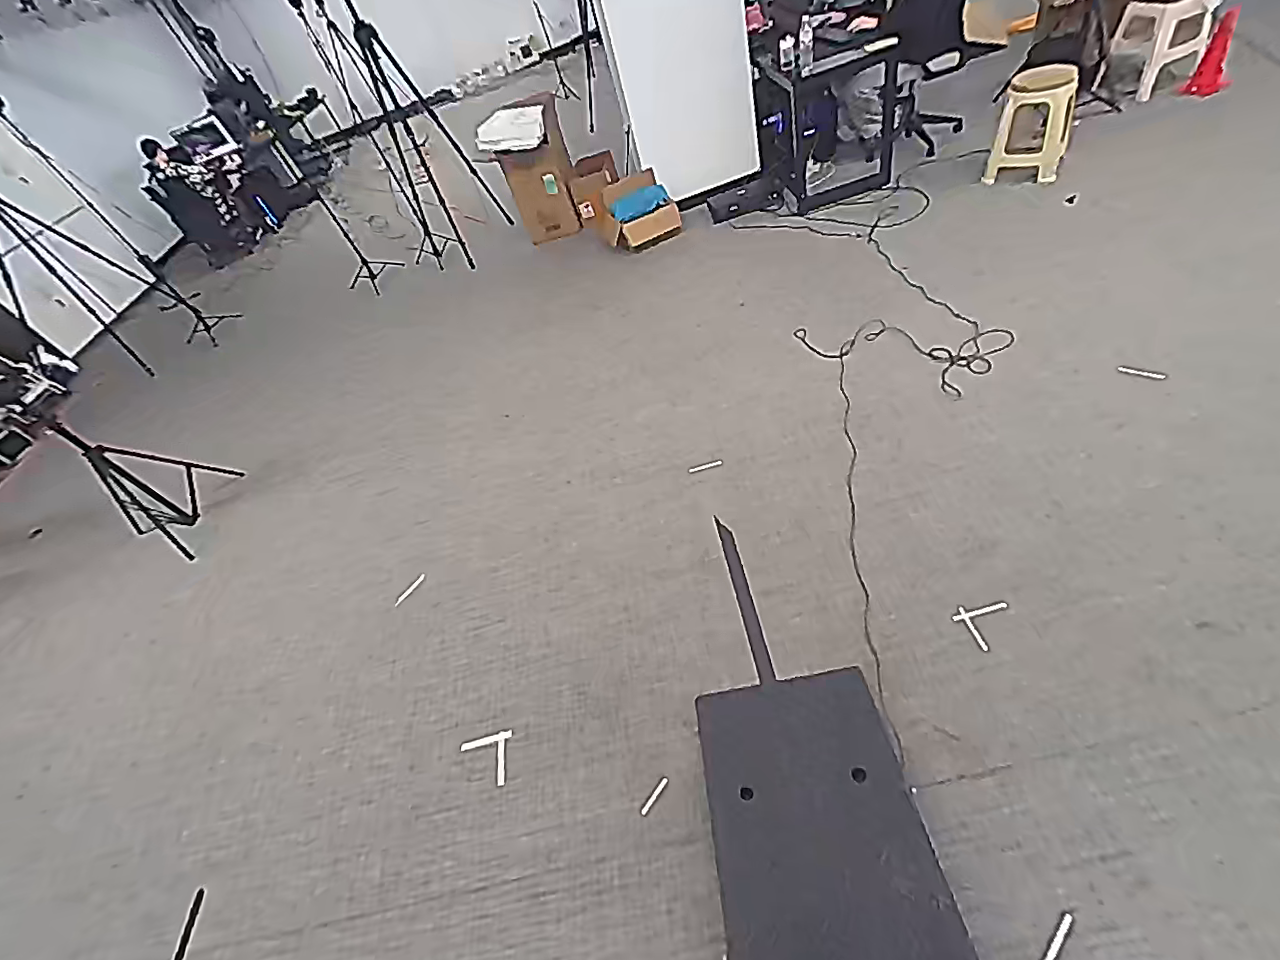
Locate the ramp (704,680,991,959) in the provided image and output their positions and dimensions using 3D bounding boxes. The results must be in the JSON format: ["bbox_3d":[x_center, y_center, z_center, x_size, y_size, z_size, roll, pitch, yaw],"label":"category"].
[{"bbox_3d":[0.444,0.928,1.186,0.509,0.206,0.991,-18,44,7],"label":"ramp"}]
